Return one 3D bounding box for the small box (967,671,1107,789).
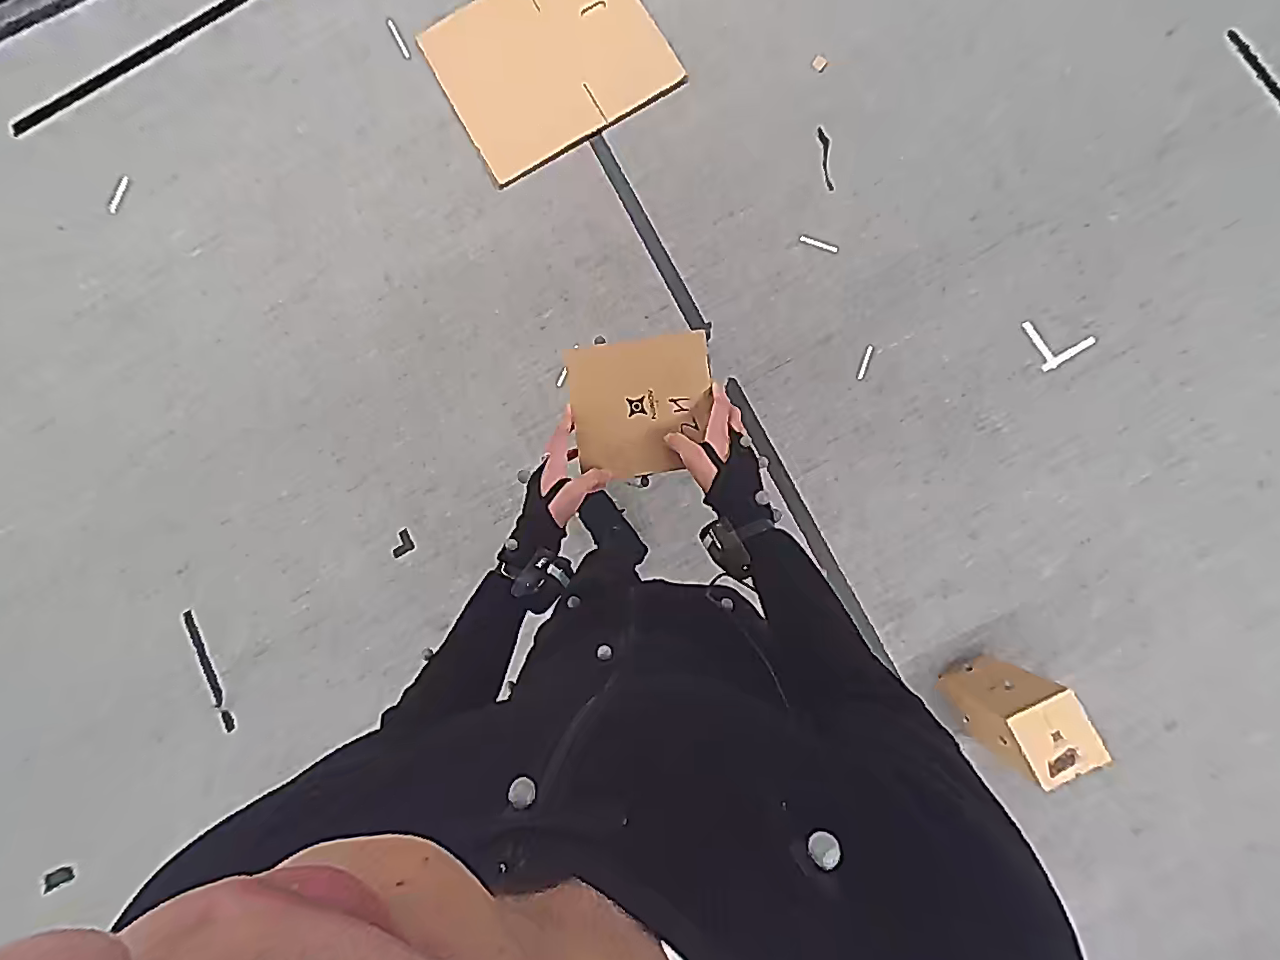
[{"bbox_3d":[0.933,0.584,1.287,0.168,0.176,0.179,-27,83,1],"label":"small box"}]

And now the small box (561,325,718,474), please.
[{"bbox_3d":[0.000,-0.098,0.731,0.179,0.176,0.168,-8,92,-1],"label":"small box"}]
